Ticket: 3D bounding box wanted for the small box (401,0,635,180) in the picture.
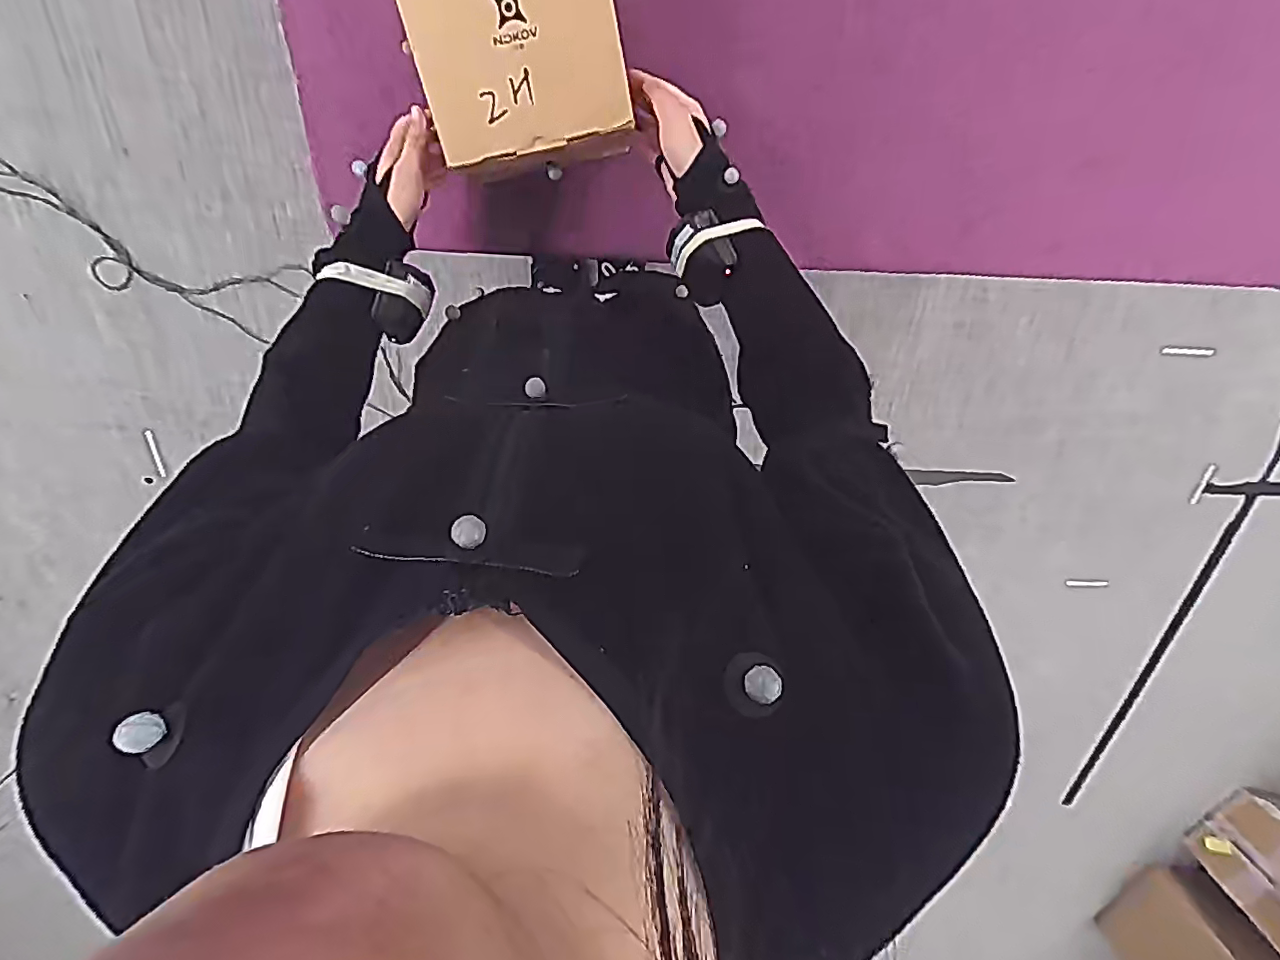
[{"bbox_3d":[-0.104,-0.393,0.494,0.168,0.176,0.179,-12,115,3],"label":"small box"}]
